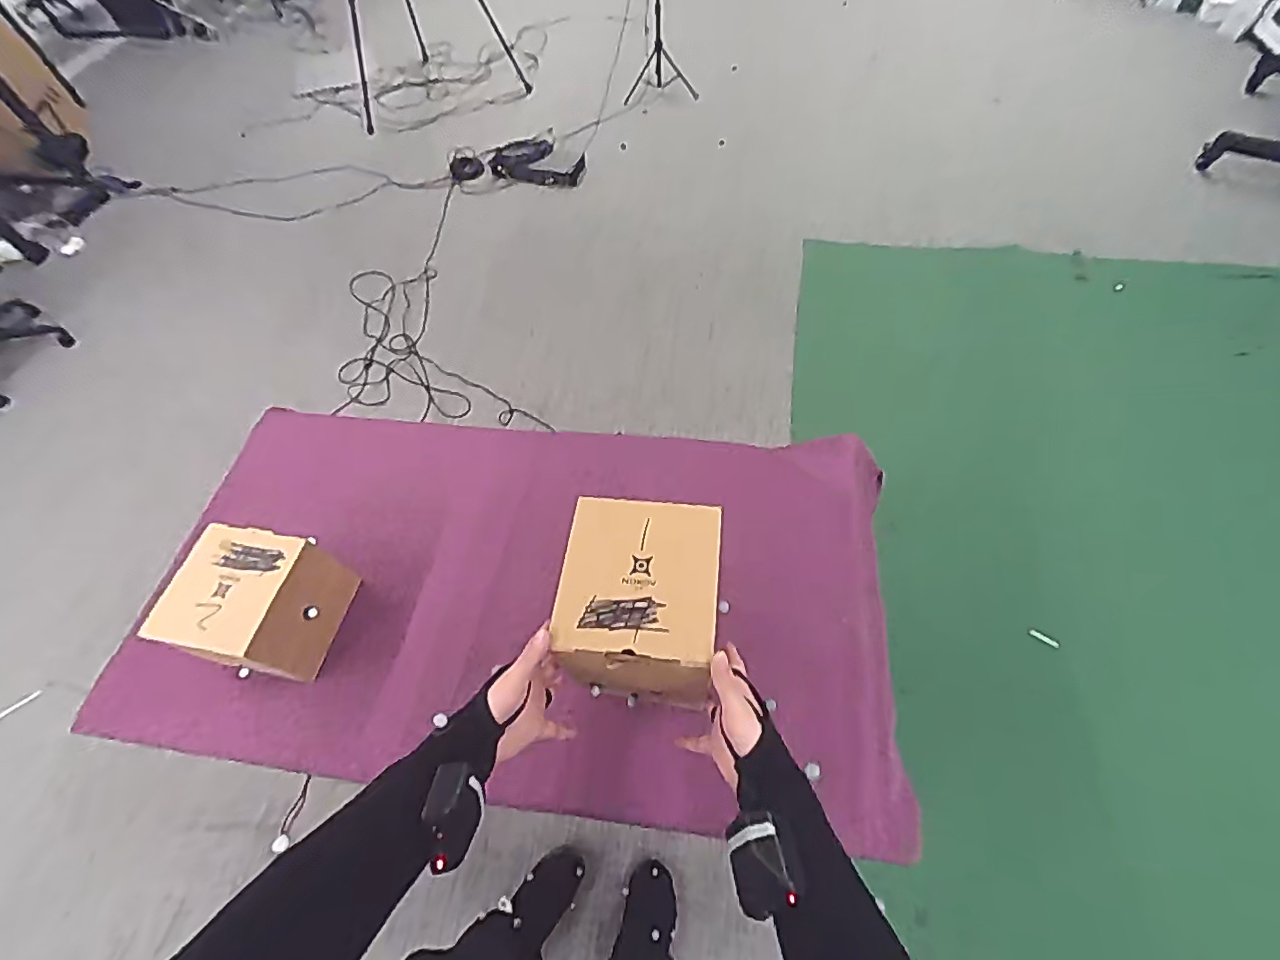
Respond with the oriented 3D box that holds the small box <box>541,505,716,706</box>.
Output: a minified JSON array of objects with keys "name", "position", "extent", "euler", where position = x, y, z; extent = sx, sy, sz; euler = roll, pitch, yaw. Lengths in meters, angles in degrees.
[{"name":"small box","position":[0.000,0.151,0.631],"extent":[0.168,0.176,0.179],"euler":[4,56,8]}]

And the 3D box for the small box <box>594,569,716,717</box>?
[{"name":"small box","position":[0.015,0.223,0.778],"extent":[0.168,0.176,0.179],"euler":[6,58,9]}]
